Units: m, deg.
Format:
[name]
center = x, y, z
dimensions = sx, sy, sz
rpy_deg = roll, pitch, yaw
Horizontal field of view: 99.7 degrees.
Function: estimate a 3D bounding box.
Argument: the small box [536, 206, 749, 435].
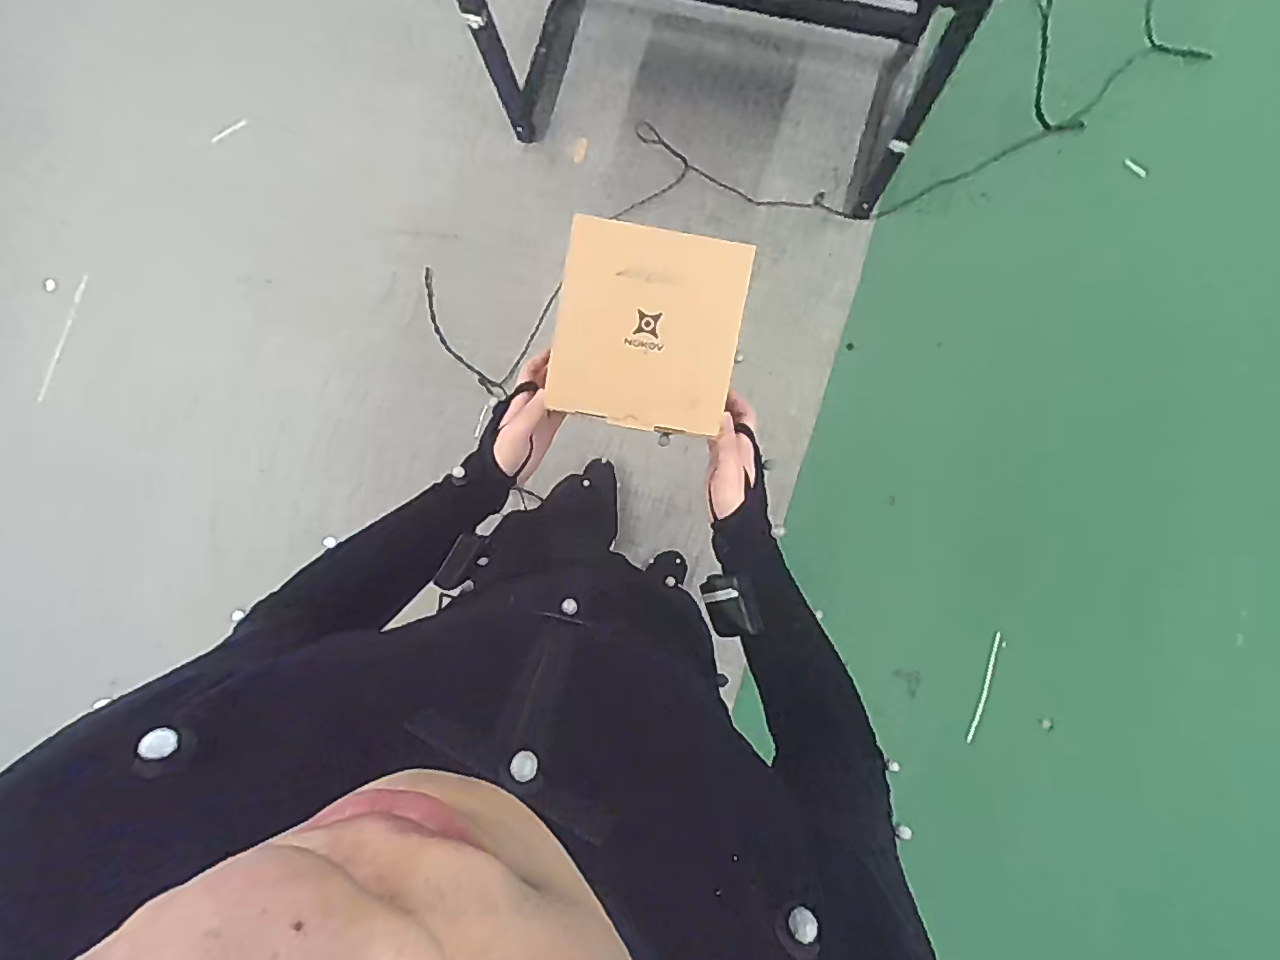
[small box]
center = 0.003, -0.147, 0.558
dimensions = 0.168, 0.176, 0.179
rpy_deg = 10, 95, 0
